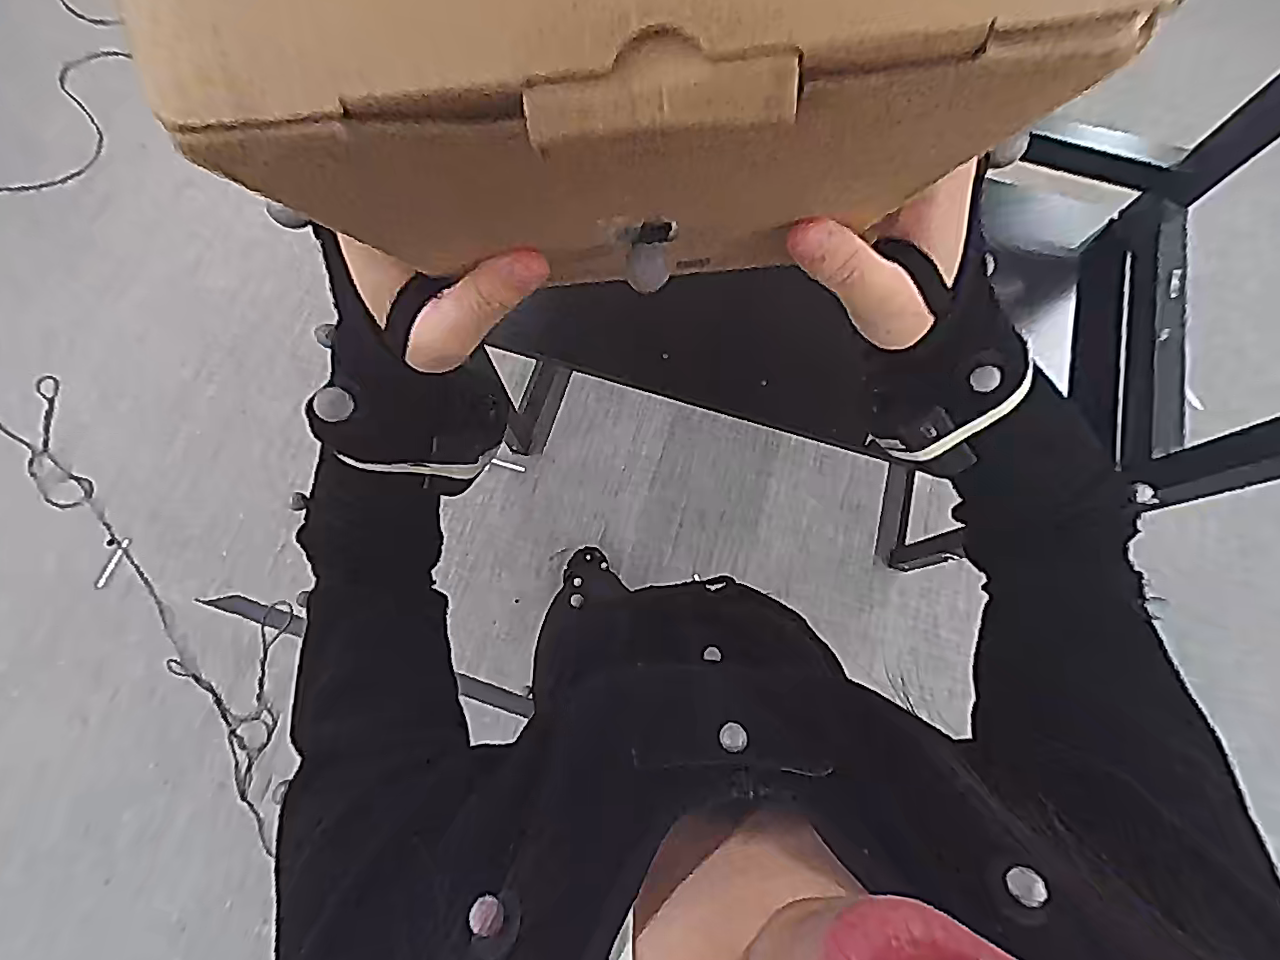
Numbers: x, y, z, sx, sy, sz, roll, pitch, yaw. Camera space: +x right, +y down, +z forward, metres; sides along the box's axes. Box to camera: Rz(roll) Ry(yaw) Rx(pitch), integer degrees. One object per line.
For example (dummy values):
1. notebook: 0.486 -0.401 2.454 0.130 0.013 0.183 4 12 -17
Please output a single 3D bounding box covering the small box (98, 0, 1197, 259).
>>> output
1. small box: -0.005 -0.163 0.139 0.168 0.176 0.179 -6 102 -2
